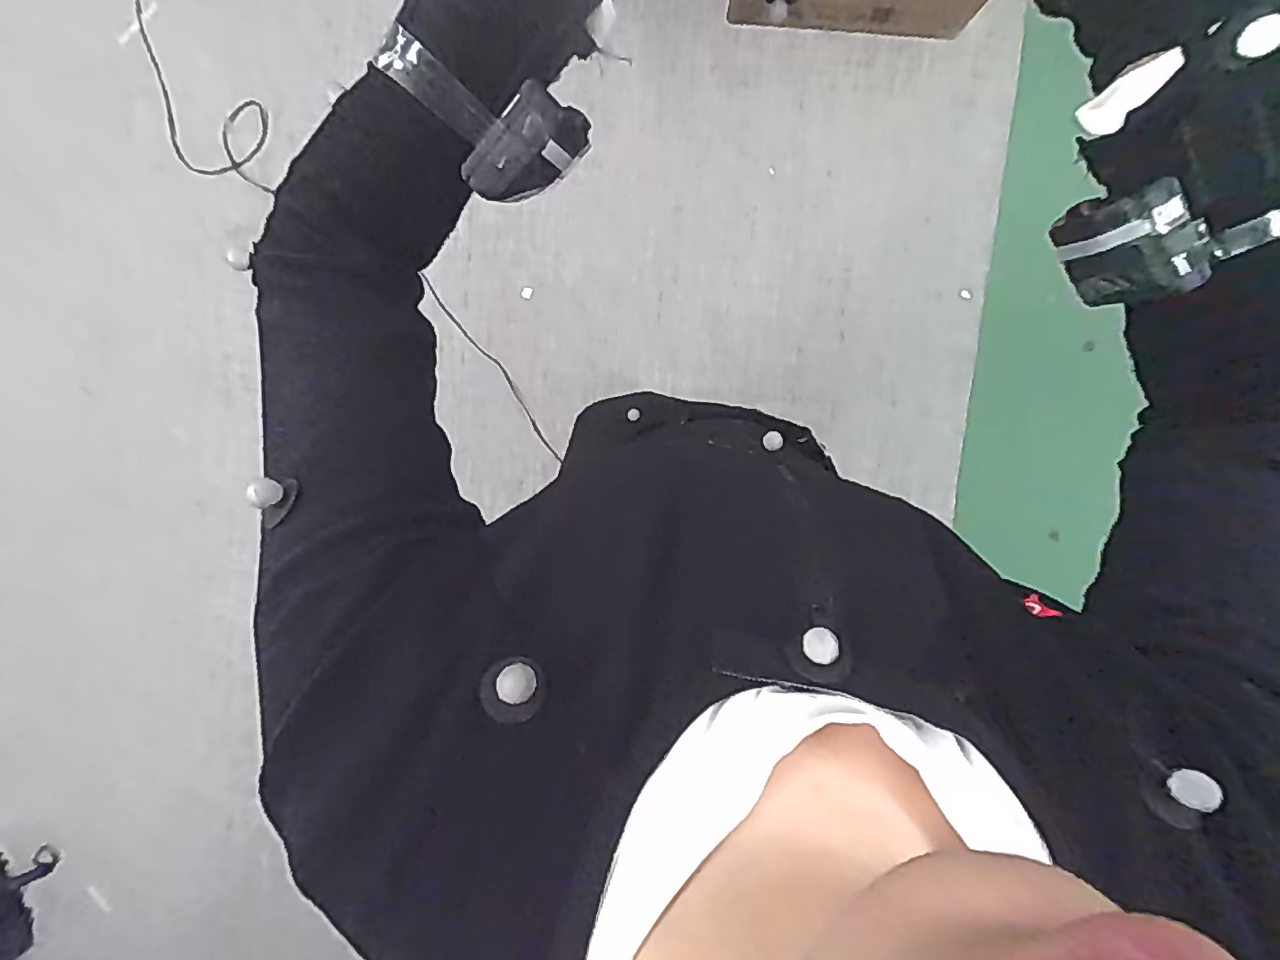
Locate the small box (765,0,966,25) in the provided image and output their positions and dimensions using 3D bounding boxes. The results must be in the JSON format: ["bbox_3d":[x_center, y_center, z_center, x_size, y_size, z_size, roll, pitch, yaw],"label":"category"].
[{"bbox_3d":[0.147,-0.397,0.292,0.168,0.176,0.179,5,98,0],"label":"small box"}]
